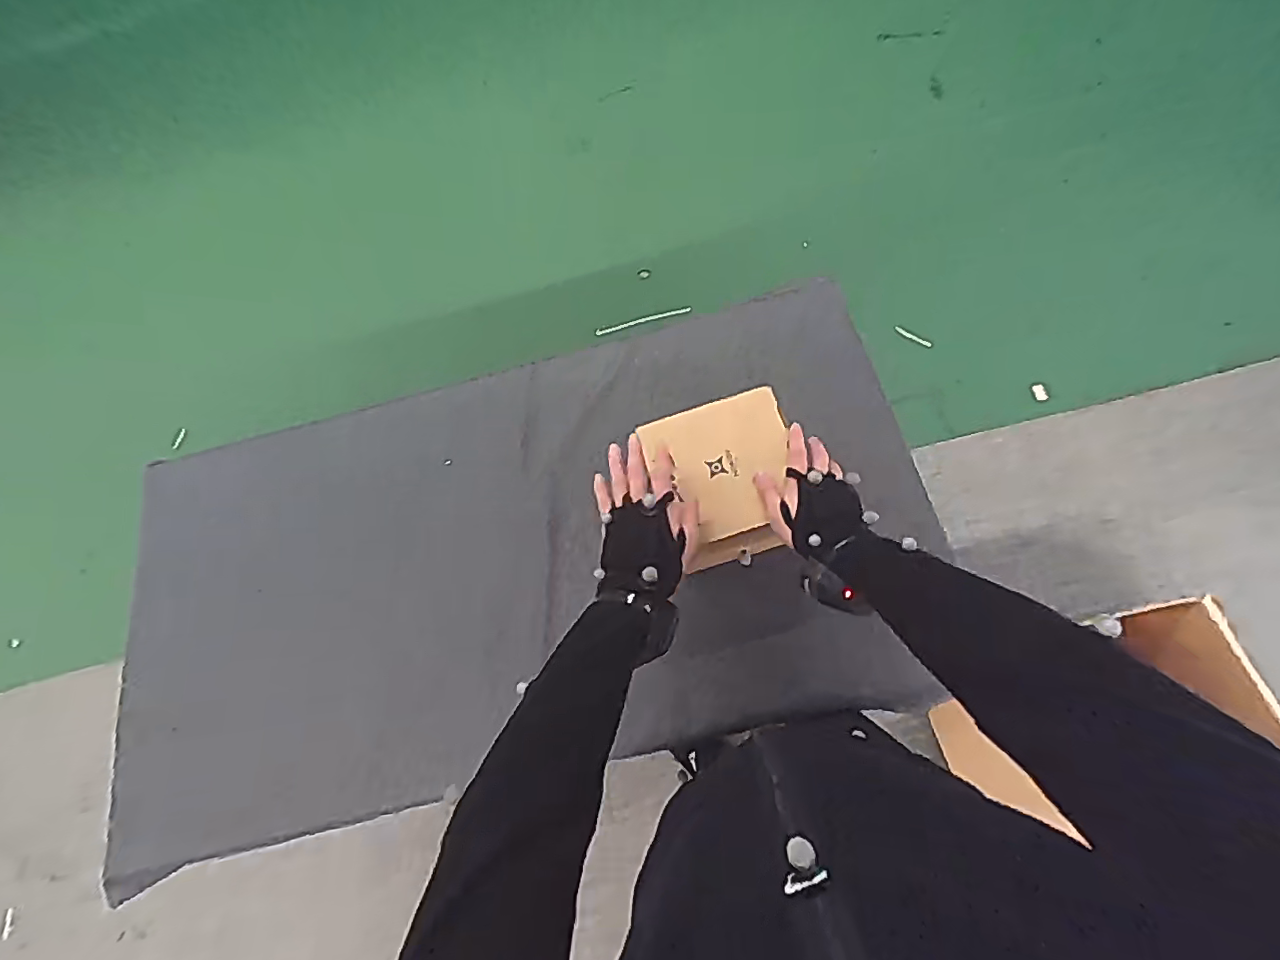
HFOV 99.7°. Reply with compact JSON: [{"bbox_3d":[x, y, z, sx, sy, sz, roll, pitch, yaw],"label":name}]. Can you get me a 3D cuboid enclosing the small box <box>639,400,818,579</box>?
[{"bbox_3d":[0.110,0.022,0.727,0.179,0.176,0.168,-20,71,1],"label":"small box"}]
